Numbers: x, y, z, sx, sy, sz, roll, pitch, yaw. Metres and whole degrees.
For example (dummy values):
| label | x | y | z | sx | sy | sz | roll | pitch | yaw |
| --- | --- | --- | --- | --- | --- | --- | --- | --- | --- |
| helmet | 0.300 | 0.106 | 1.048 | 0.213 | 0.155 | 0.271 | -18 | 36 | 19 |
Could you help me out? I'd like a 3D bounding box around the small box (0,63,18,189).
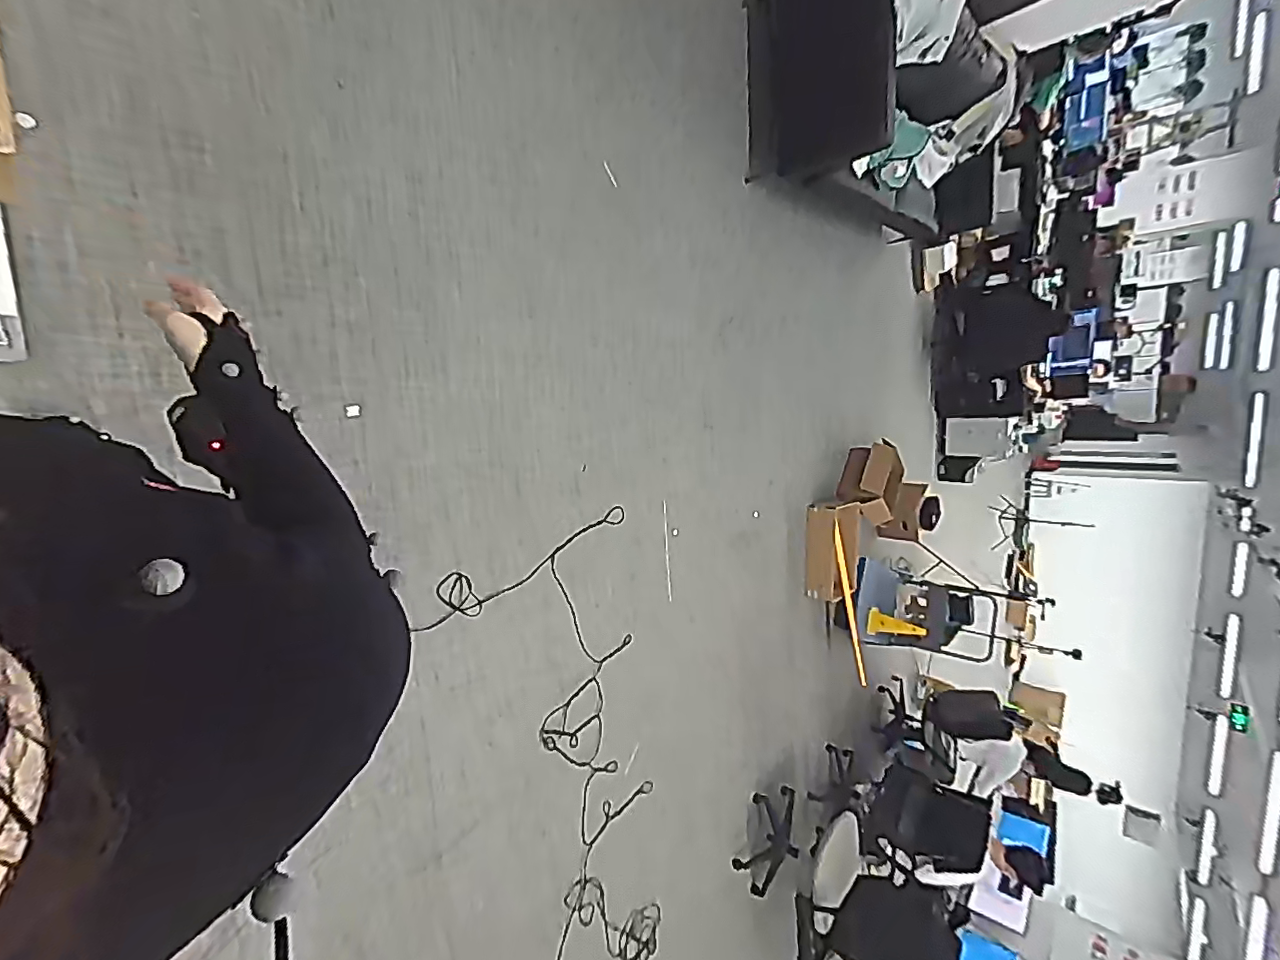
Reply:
| label | x | y | z | sx | sy | sz | roll | pitch | yaw |
| --- | --- | --- | --- | --- | --- | --- | --- | --- | --- |
| small box | -0.705 | -0.386 | 0.485 | 0.179 | 0.176 | 0.168 | -10 | 101 | -47 |
